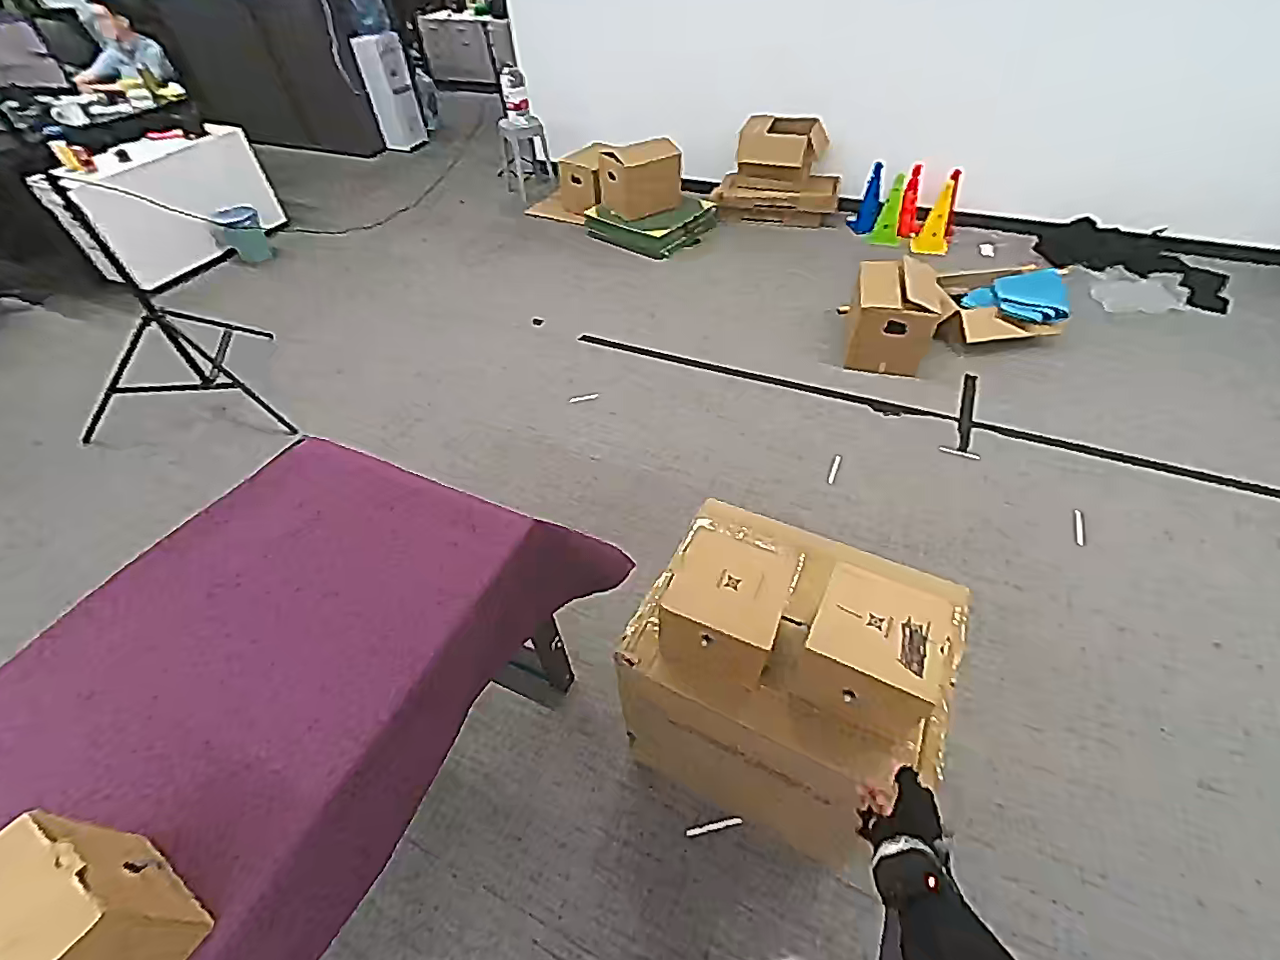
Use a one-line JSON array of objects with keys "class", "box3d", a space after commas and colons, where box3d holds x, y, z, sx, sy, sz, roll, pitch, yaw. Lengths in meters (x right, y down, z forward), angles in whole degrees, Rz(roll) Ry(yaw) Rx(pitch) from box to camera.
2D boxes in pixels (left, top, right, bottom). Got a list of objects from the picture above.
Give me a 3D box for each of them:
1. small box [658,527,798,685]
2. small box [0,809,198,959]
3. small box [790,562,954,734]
[{"class": "small box", "box3d": [0.140, 0.211, 0.893, 0.179, 0.176, 0.168, 19, 53, 17]}, {"class": "small box", "box3d": [-0.601, 0.481, 0.544, 0.168, 0.176, 0.179, 22, 52, 23]}, {"class": "small box", "box3d": [0.348, 0.262, 0.832, 0.179, 0.176, 0.168, 20, 52, 22]}]
